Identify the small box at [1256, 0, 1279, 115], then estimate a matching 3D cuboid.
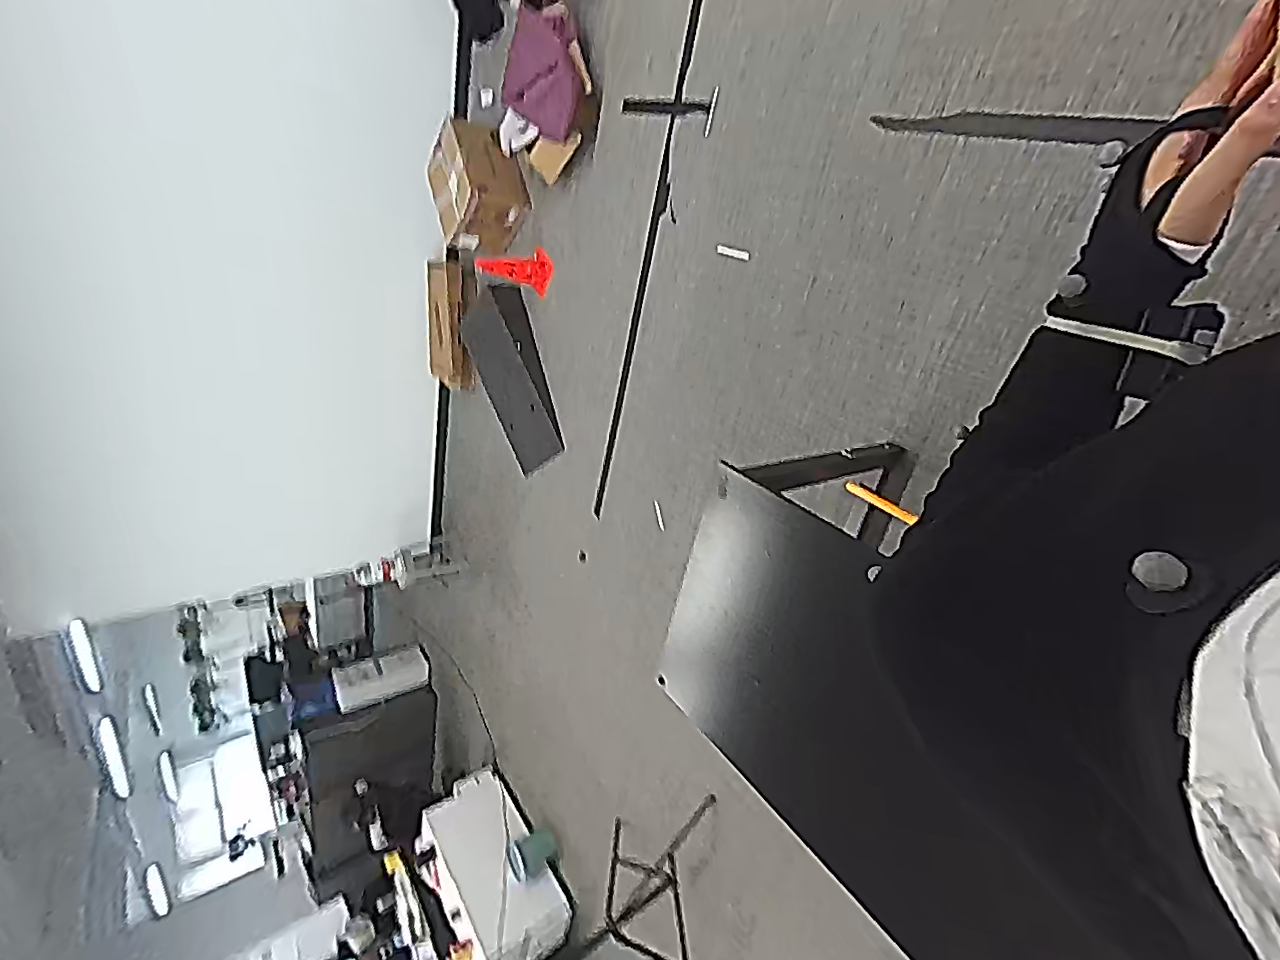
[{"bbox_3d":[0.436,-0.304,0.261,0.168,0.176,0.179,6,111,49],"label":"small box"}]
